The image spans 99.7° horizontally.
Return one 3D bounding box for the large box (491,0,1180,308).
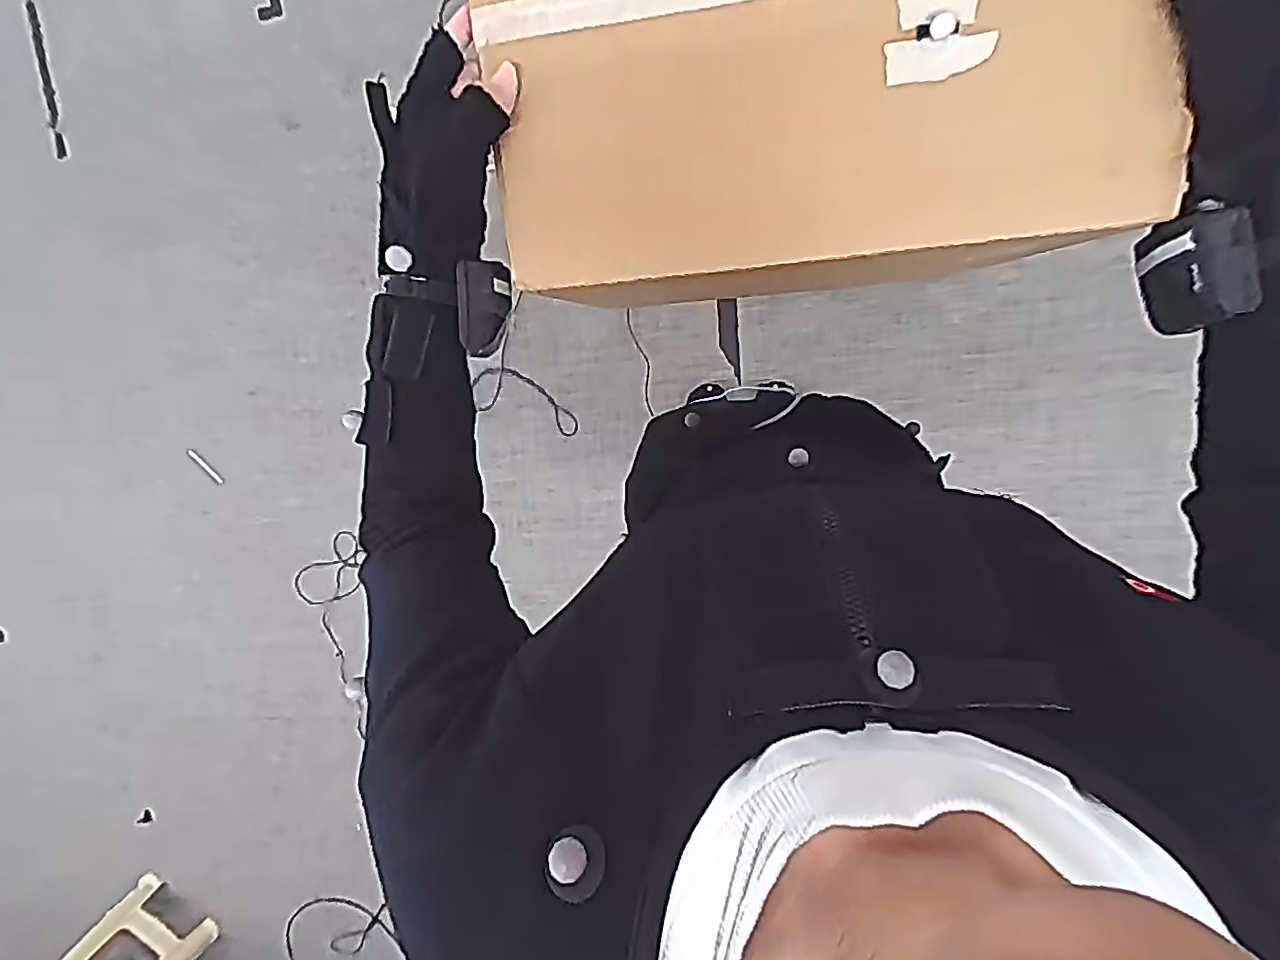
[{"bbox_3d":[0.118,-0.337,0.463,0.408,0.320,0.320,-4,105,8],"label":"large box"}]
